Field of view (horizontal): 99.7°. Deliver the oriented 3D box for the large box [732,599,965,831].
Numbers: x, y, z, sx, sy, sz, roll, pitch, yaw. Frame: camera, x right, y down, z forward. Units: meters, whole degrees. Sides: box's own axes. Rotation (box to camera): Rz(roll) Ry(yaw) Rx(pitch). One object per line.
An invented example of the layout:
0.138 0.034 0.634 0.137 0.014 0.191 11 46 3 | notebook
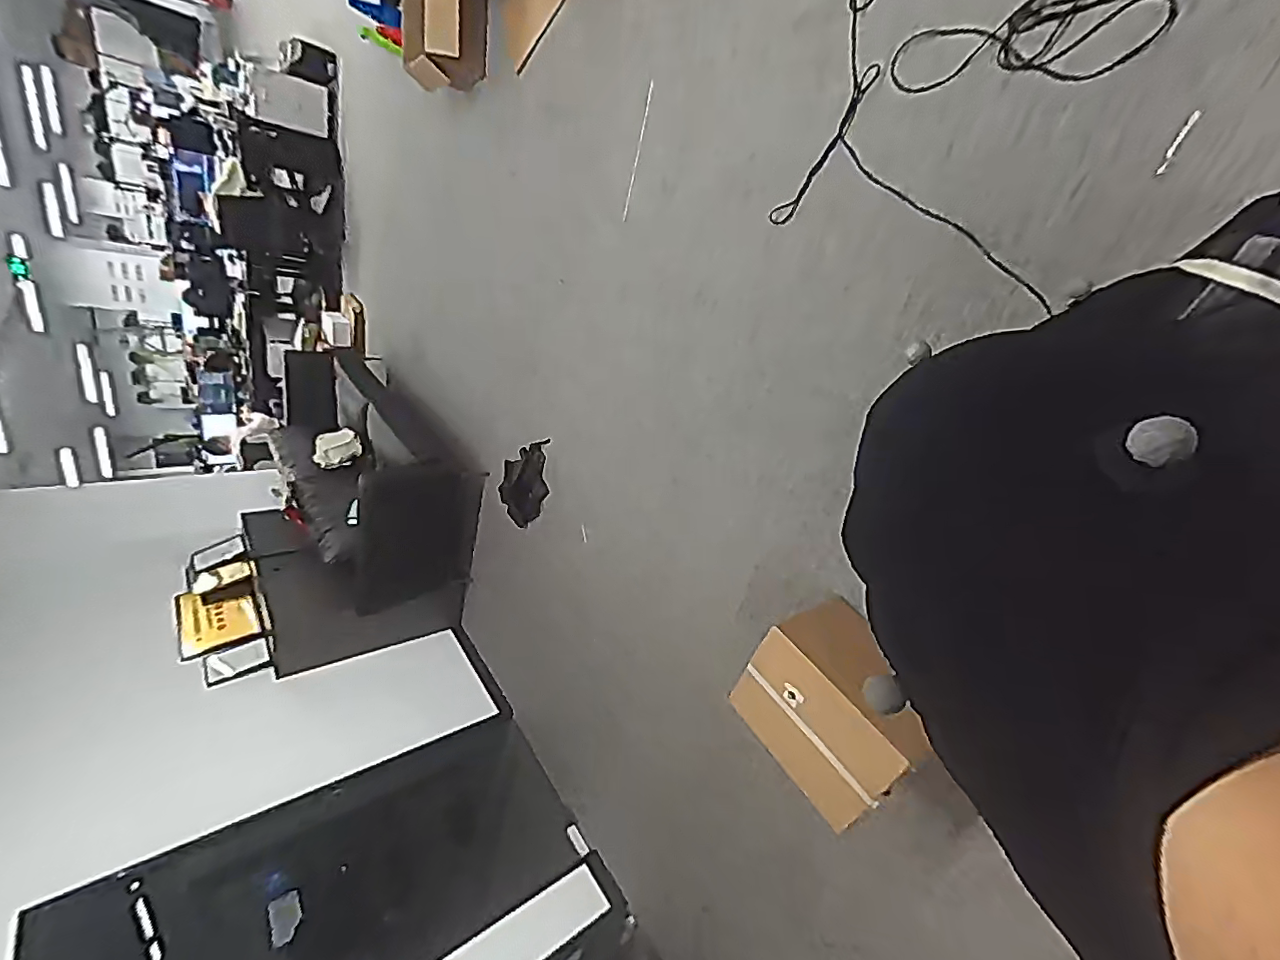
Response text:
0.527 0.583 1.409 0.408 0.320 0.320 46 128 37 | large box
